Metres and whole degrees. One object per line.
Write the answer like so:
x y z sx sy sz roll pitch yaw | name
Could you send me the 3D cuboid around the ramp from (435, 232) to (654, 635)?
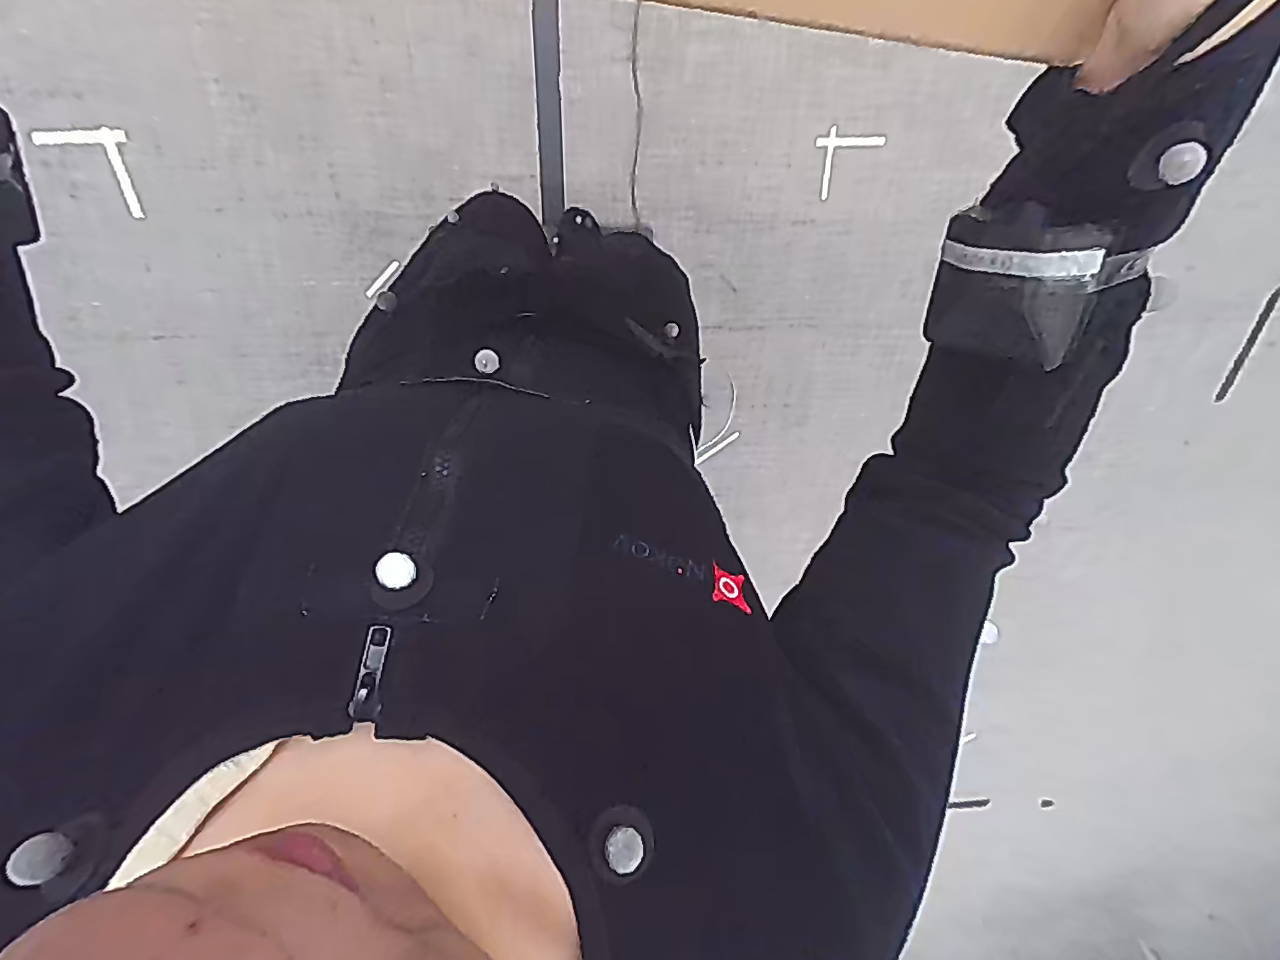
-0.211 -0.070 1.336 0.509 0.206 0.991 -2 116 -3 | ramp
